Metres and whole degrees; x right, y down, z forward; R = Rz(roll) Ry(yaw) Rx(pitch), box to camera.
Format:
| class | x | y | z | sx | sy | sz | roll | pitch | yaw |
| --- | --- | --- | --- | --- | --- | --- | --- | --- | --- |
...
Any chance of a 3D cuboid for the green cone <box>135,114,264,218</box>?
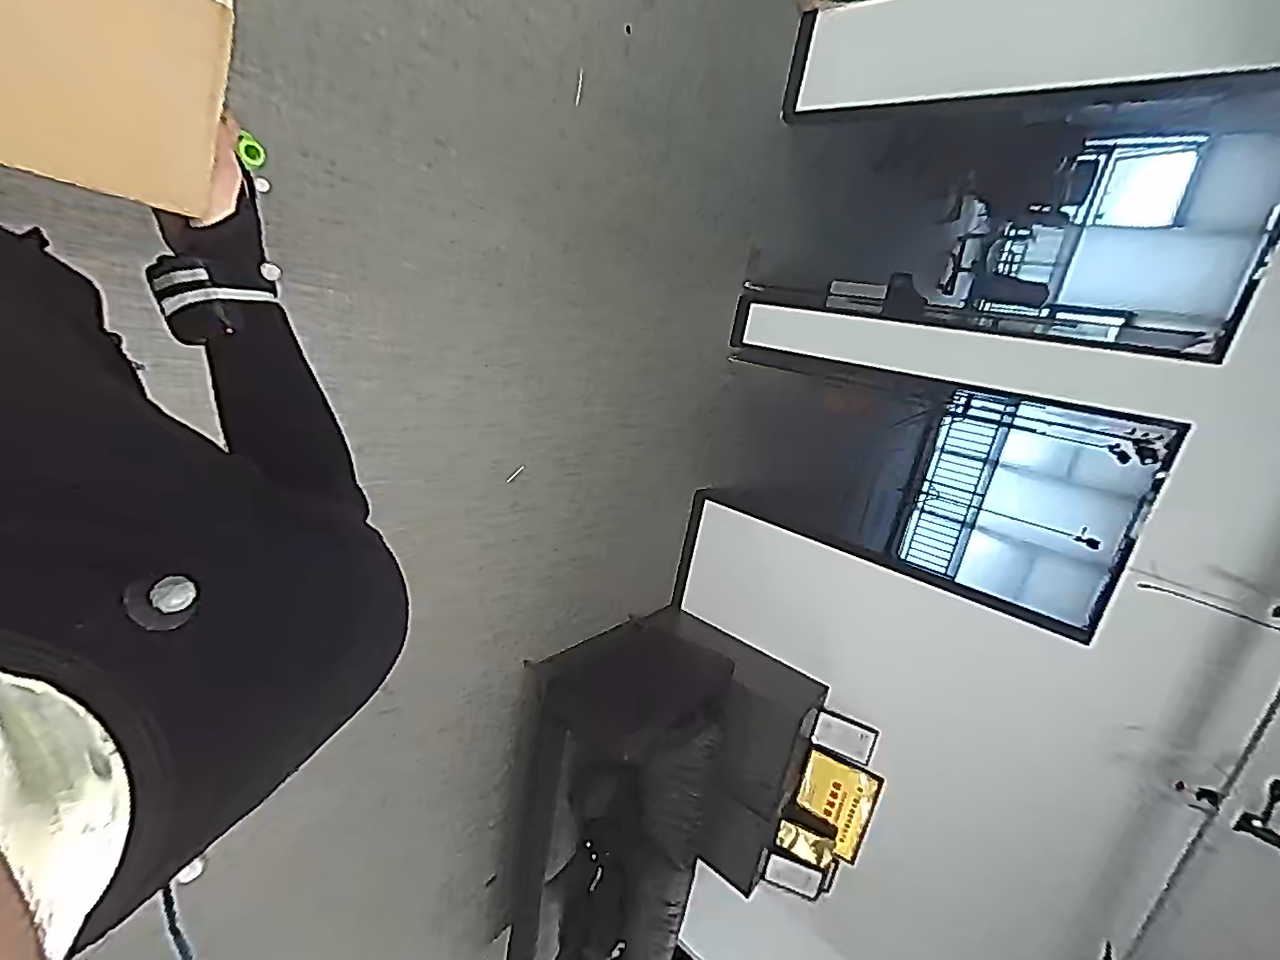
| class | x | y | z | sx | sy | sz | roll | pitch | yaw |
| --- | --- | --- | --- | --- | --- | --- | --- | --- | --- |
| green cone | -0.848 | -0.661 | 1.092 | 0.200 | 0.368 | 0.202 | 1 | 106 | -55 |
